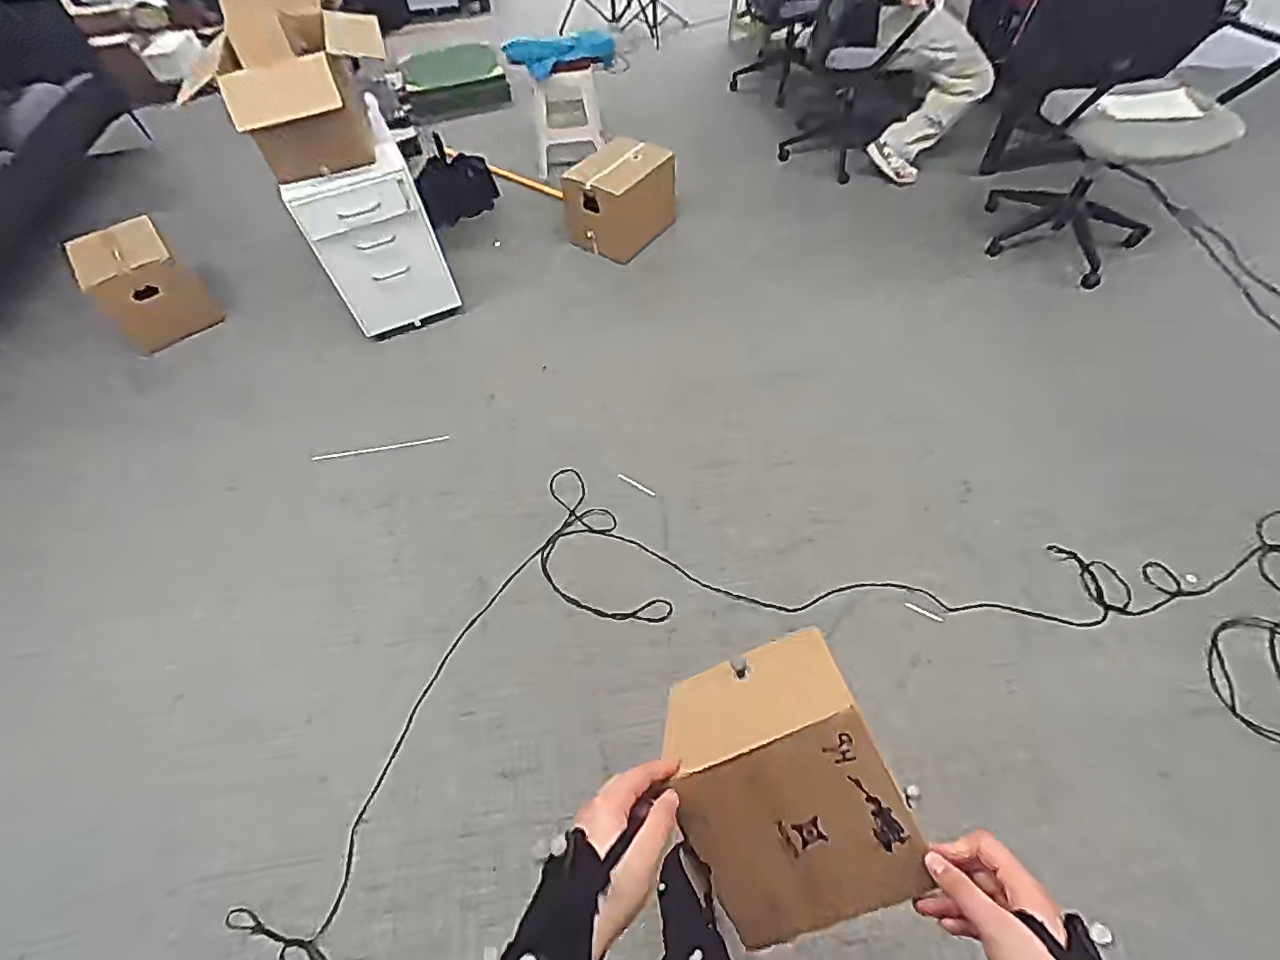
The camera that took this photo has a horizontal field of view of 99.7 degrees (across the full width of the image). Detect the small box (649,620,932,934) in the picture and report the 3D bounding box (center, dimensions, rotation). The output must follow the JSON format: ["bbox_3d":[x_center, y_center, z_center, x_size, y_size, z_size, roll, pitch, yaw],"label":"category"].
[{"bbox_3d":[0.130,0.261,0.512,0.179,0.176,0.168,-27,92,10],"label":"small box"}]
